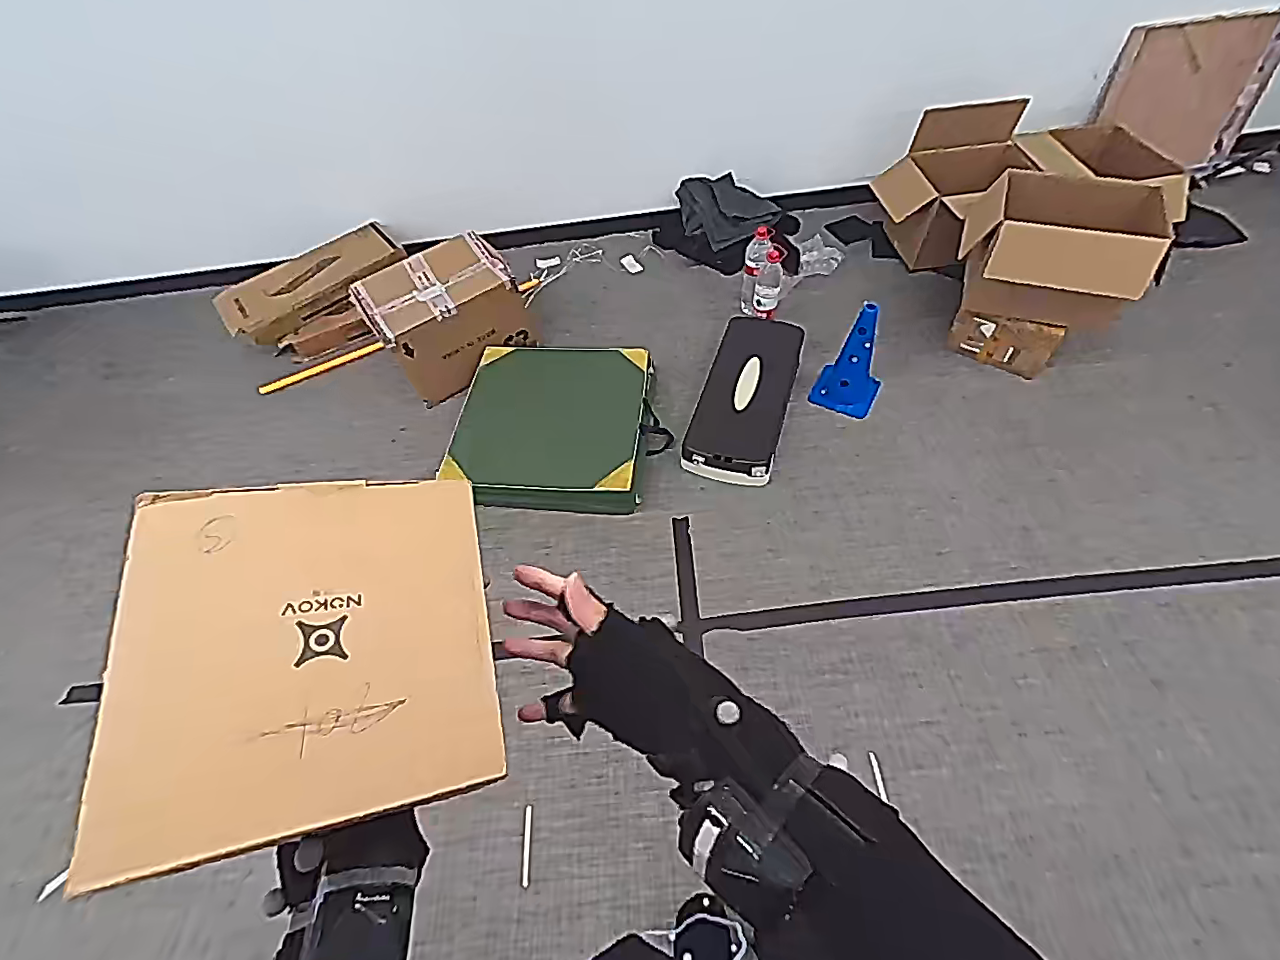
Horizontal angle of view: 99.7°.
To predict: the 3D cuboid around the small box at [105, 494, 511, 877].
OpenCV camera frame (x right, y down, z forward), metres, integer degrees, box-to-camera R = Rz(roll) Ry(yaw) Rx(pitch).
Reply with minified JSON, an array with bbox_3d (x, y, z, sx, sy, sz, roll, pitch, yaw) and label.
[{"bbox_3d":[-0.189,0.126,0.351,0.168,0.176,0.179,-2,61,-25],"label":"small box"}]
